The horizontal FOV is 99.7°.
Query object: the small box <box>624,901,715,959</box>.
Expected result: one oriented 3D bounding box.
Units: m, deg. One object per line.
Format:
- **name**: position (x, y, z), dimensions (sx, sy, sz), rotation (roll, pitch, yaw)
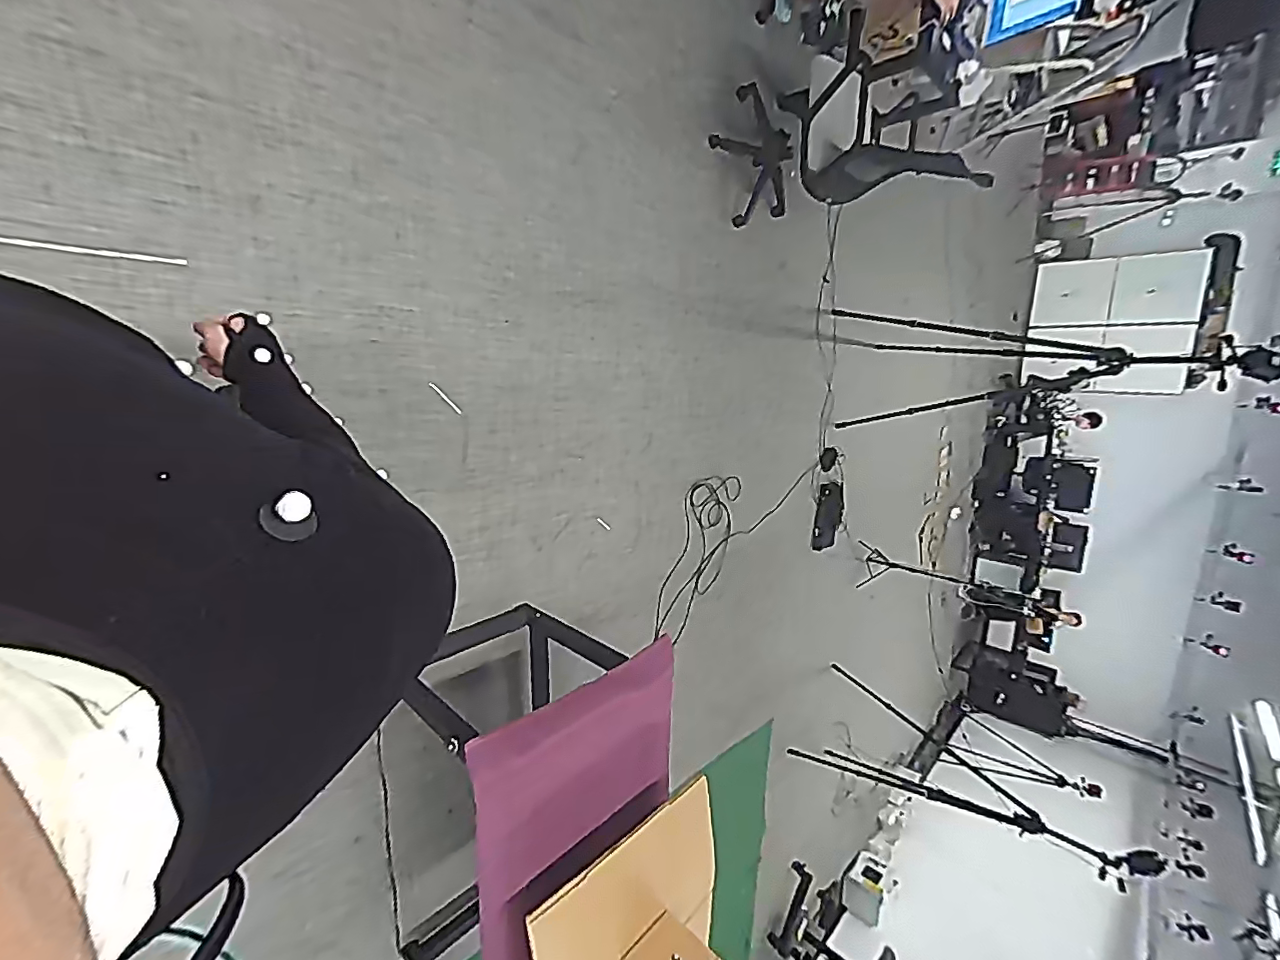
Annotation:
- **small box**: position (0.068, 1.245, 1.375), dimensions (0.179, 0.176, 0.168), rotation (-15, 113, -45)
